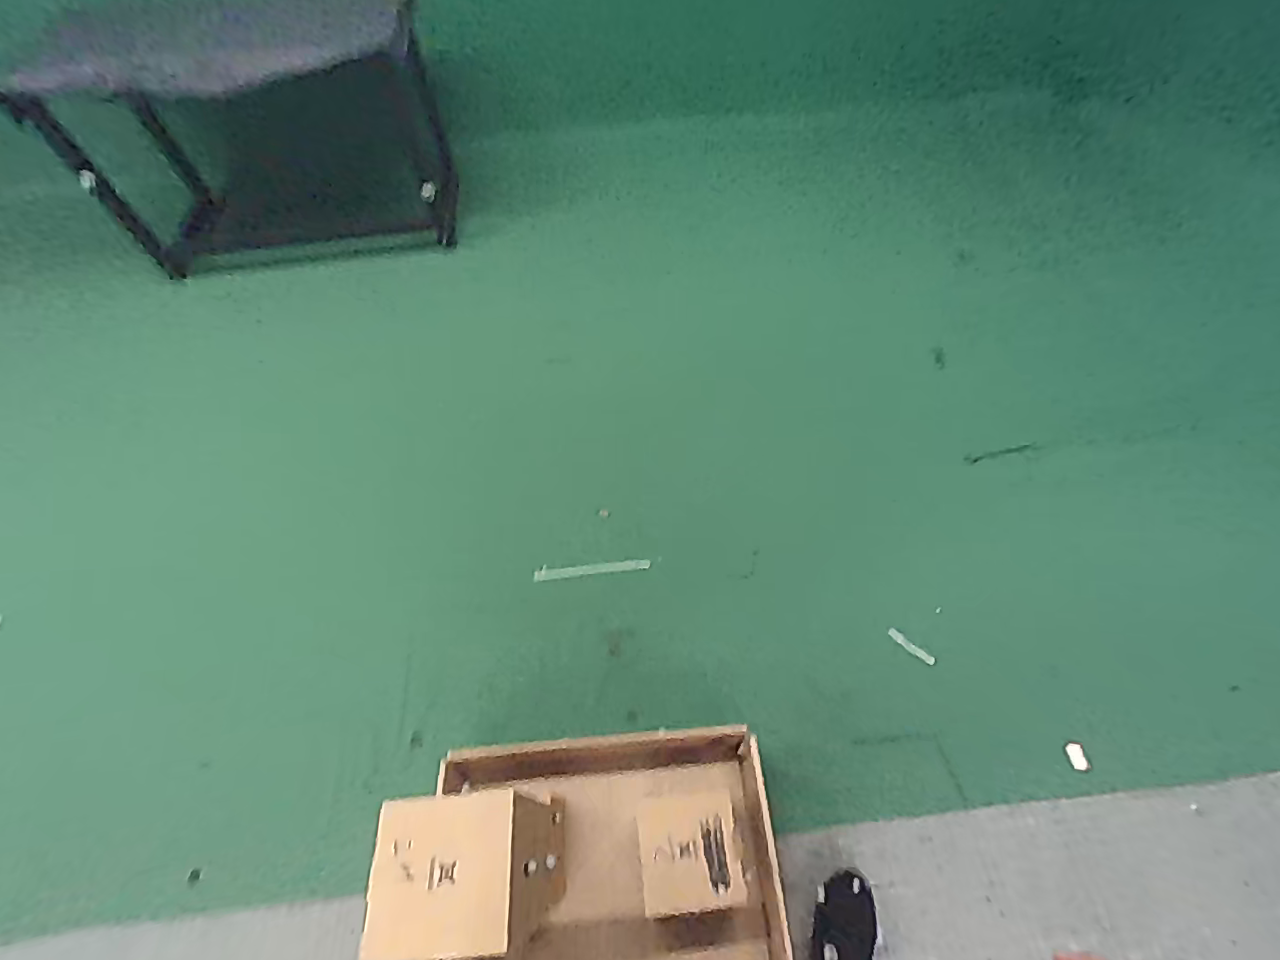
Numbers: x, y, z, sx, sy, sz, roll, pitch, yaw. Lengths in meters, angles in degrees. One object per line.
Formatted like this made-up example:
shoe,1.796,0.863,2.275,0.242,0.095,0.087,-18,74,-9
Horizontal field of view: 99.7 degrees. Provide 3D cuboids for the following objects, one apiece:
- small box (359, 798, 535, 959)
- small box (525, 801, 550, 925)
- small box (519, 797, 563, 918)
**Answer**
small box,-0.241,0.532,0.729,0.179,0.176,0.168,-5,56,-1
small box,-0.247,0.621,0.868,0.179,0.176,0.168,-4,57,-2
small box,-0.237,0.703,1.011,0.168,0.176,0.179,-5,57,-1
